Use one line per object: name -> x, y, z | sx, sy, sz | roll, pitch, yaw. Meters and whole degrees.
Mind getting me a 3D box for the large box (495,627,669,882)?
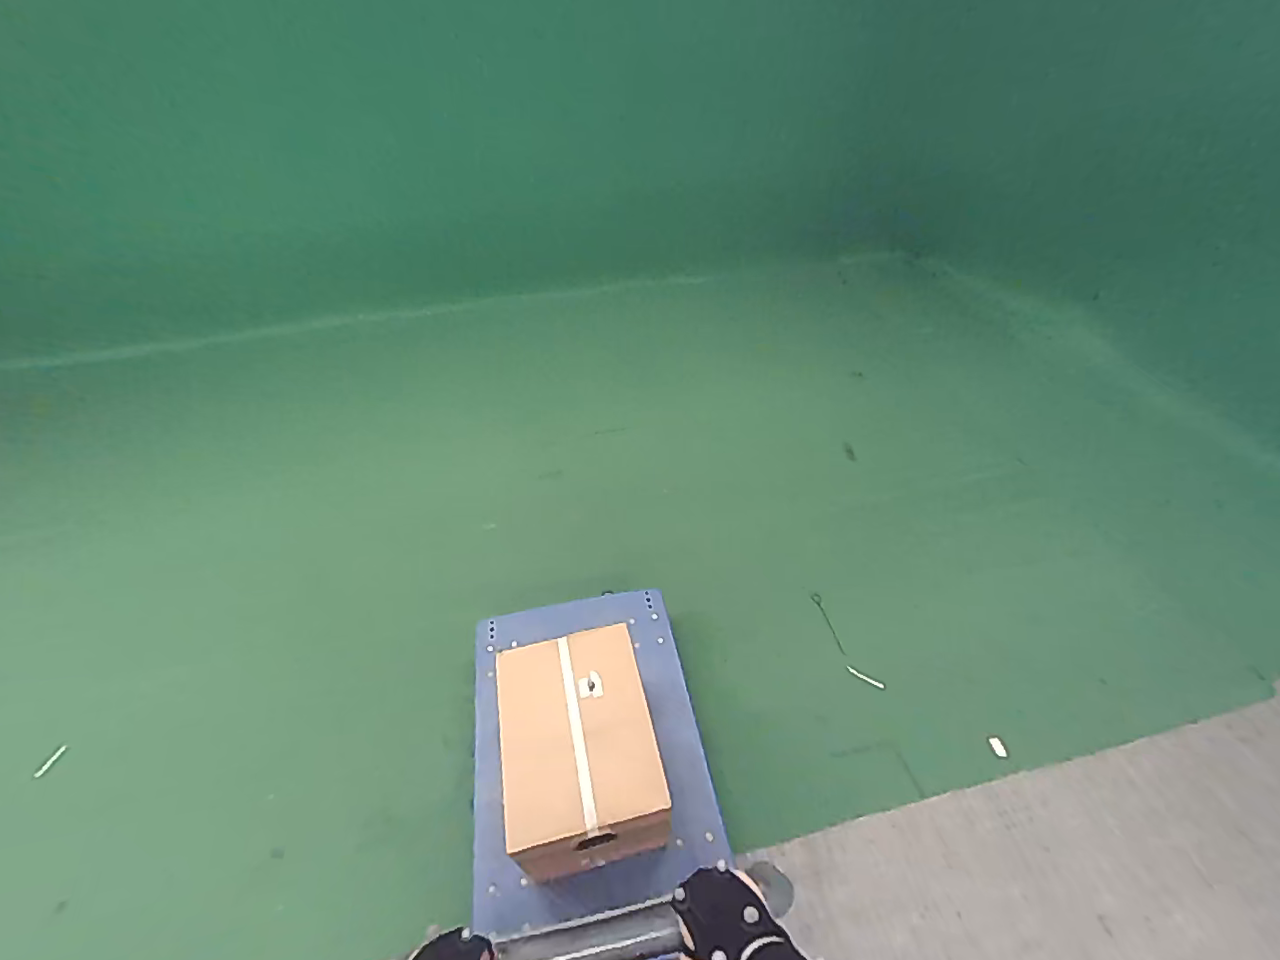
large box -> -0.133, 0.622, 1.246 | 0.320, 0.320, 0.408 | -11, 46, -9
